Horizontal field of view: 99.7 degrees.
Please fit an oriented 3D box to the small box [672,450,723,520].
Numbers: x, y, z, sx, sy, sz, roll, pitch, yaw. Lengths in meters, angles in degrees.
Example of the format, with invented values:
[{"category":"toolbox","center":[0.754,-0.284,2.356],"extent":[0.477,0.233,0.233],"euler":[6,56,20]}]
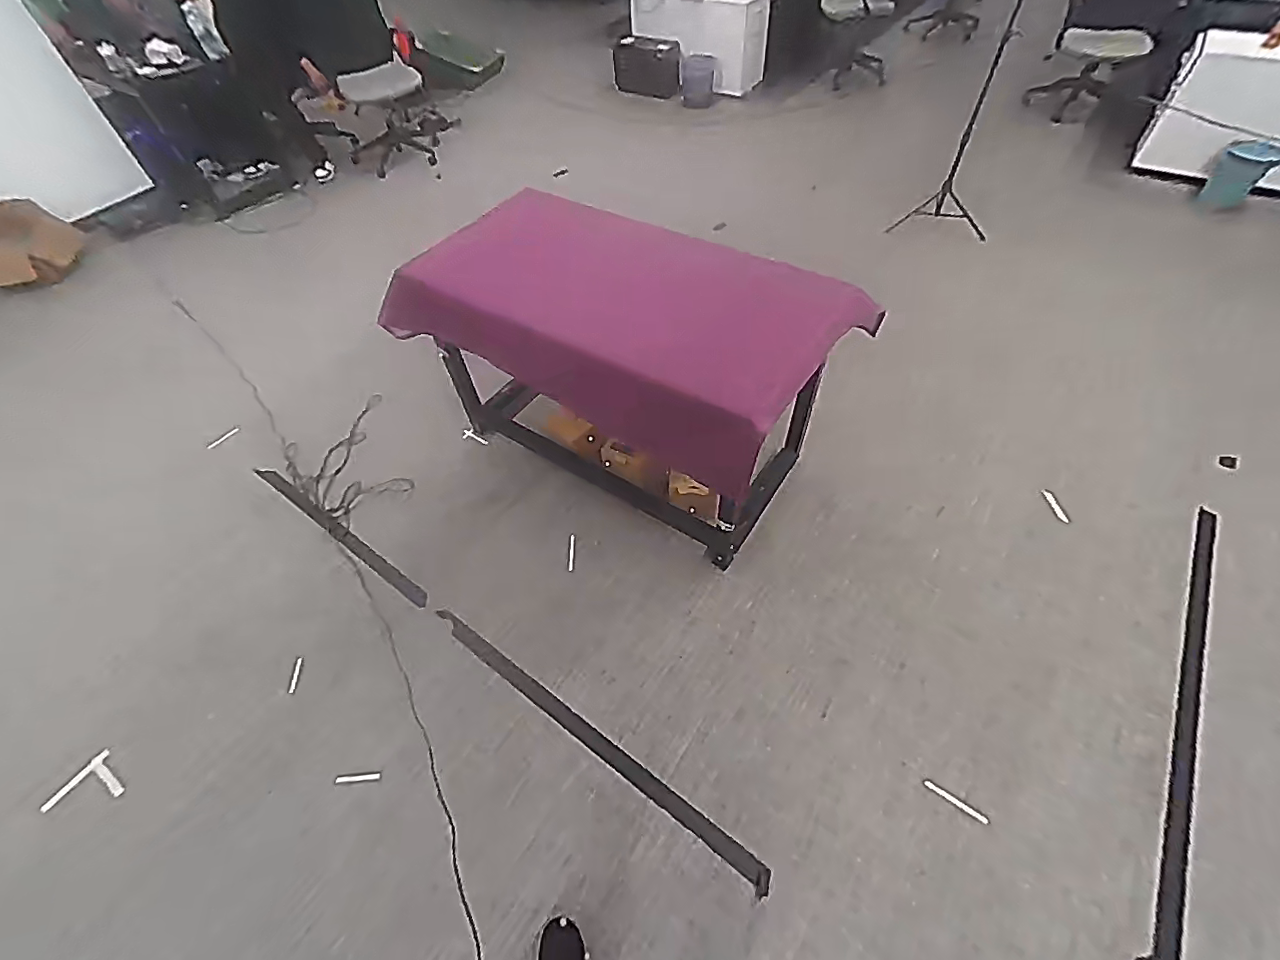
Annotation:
[{"category":"small box","center":[0.202,0.018,1.894],"extent":[0.168,0.176,0.179],"euler":[3,52,7]}]
